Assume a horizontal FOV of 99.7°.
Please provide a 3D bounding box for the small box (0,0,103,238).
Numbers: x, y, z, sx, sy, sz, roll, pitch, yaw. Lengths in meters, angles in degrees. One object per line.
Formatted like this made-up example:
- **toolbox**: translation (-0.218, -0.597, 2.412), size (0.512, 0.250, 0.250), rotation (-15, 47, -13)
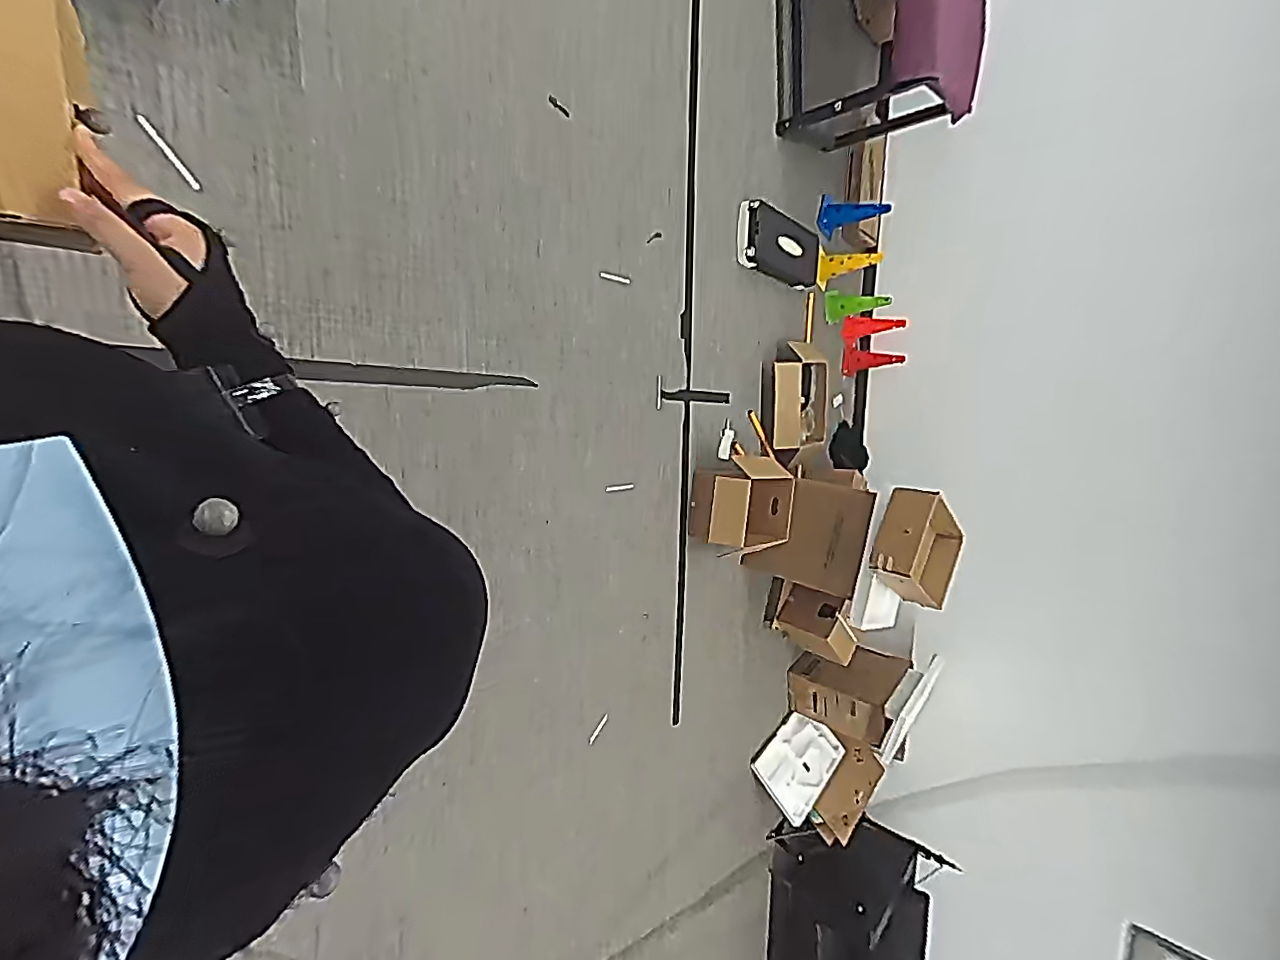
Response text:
- **small box**: translation (-0.476, -0.272, 0.348), size (0.168, 0.176, 0.179), rotation (-6, 107, -40)
